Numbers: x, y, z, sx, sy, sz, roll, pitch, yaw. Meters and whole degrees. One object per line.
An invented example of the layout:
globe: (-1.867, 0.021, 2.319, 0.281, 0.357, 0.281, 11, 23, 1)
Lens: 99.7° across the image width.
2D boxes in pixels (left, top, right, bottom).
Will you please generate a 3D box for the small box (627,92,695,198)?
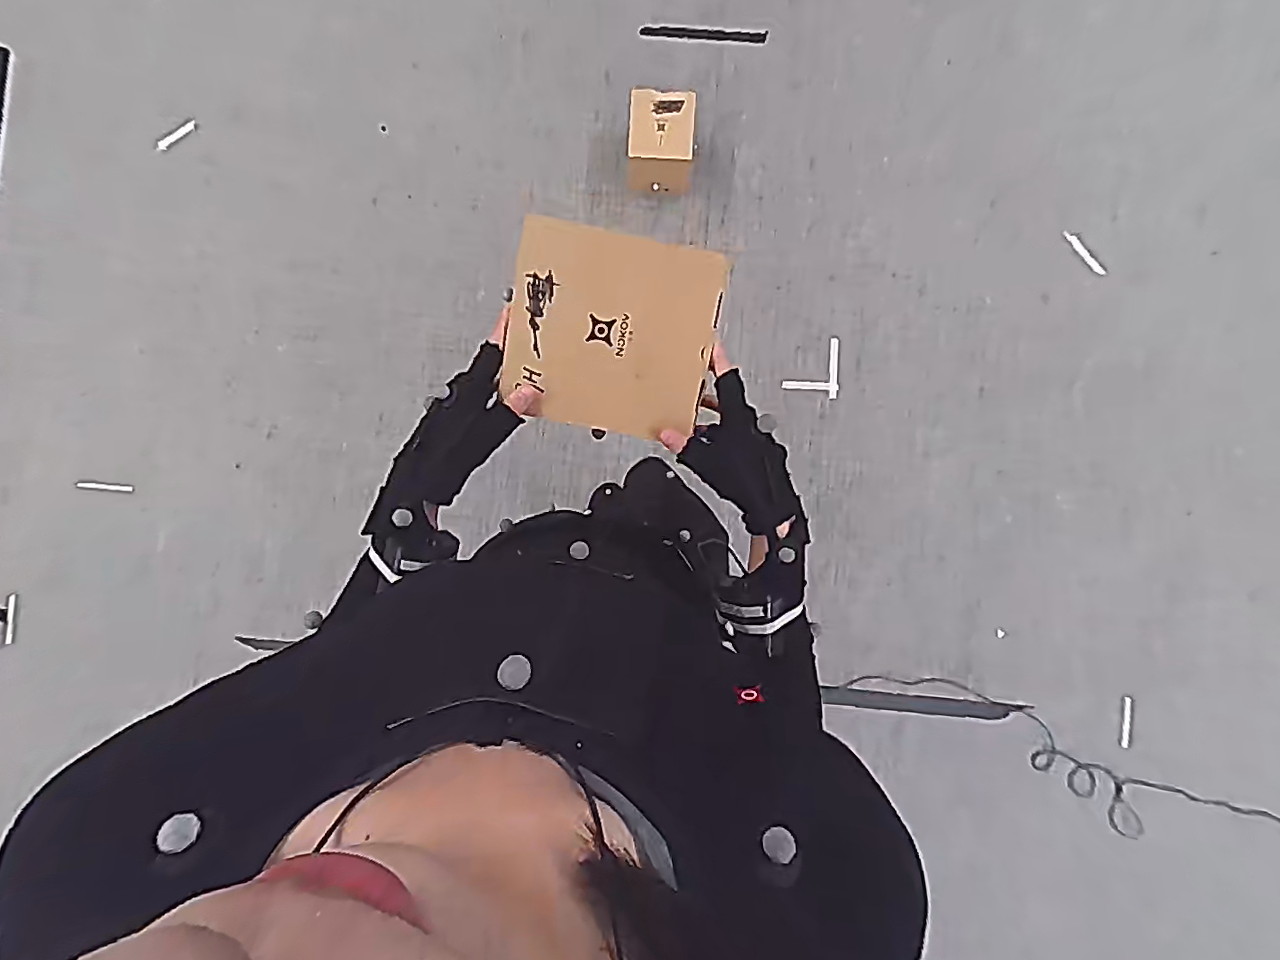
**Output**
small box: (0.053, -0.897, 1.457, 0.168, 0.176, 0.179, 4, 90, 0)

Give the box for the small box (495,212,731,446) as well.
small box: (-0.027, -0.136, 0.536, 0.179, 0.176, 0.168, 11, 97, -4)
